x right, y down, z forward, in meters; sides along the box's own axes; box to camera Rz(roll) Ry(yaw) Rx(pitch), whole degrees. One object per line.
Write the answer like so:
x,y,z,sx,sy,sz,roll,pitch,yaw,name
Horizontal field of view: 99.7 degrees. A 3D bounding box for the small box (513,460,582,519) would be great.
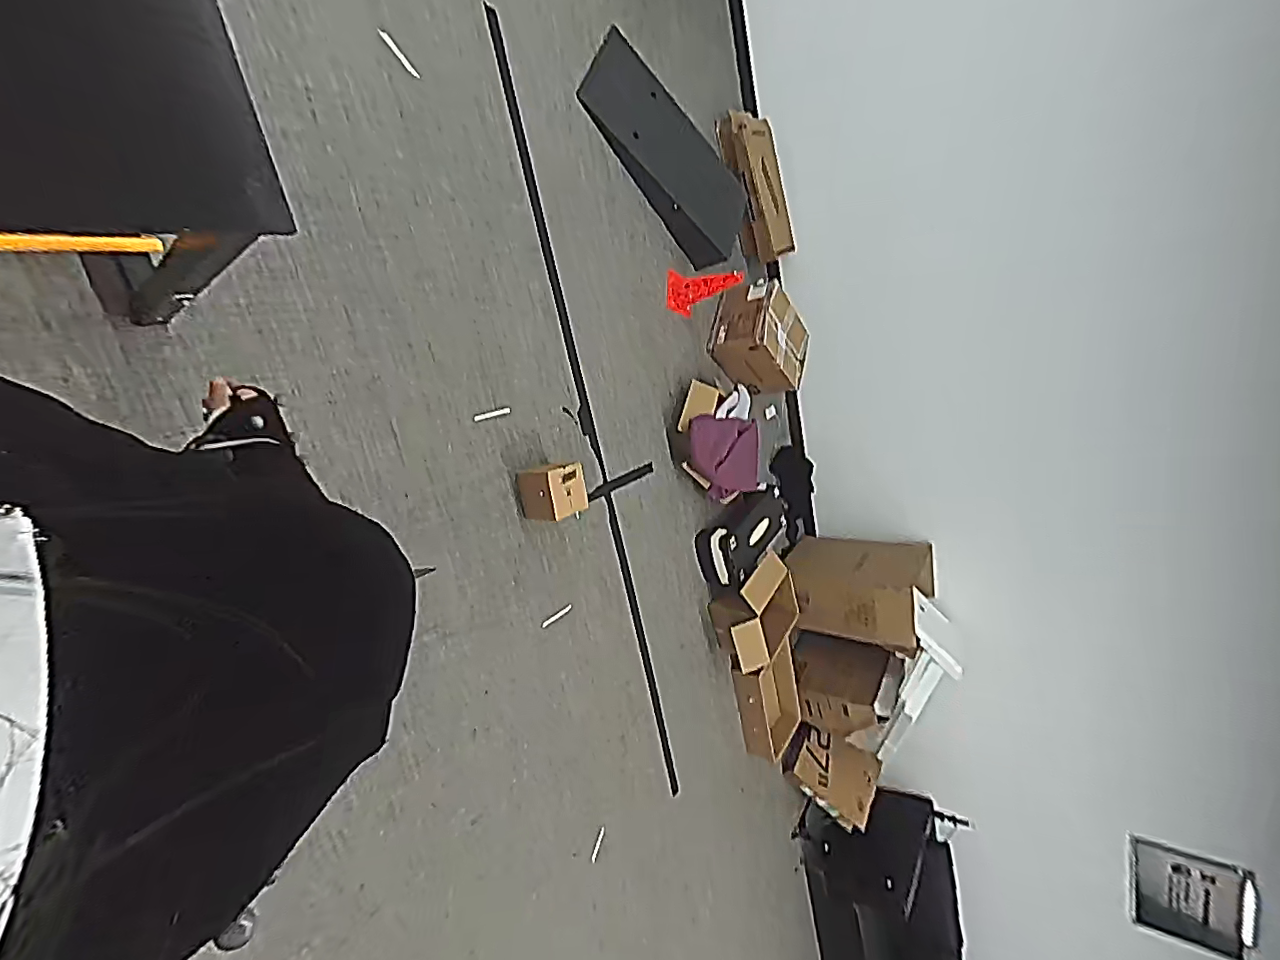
-0.335,0.032,1.941,0.168,0.176,0.179,-22,108,-49,small box
